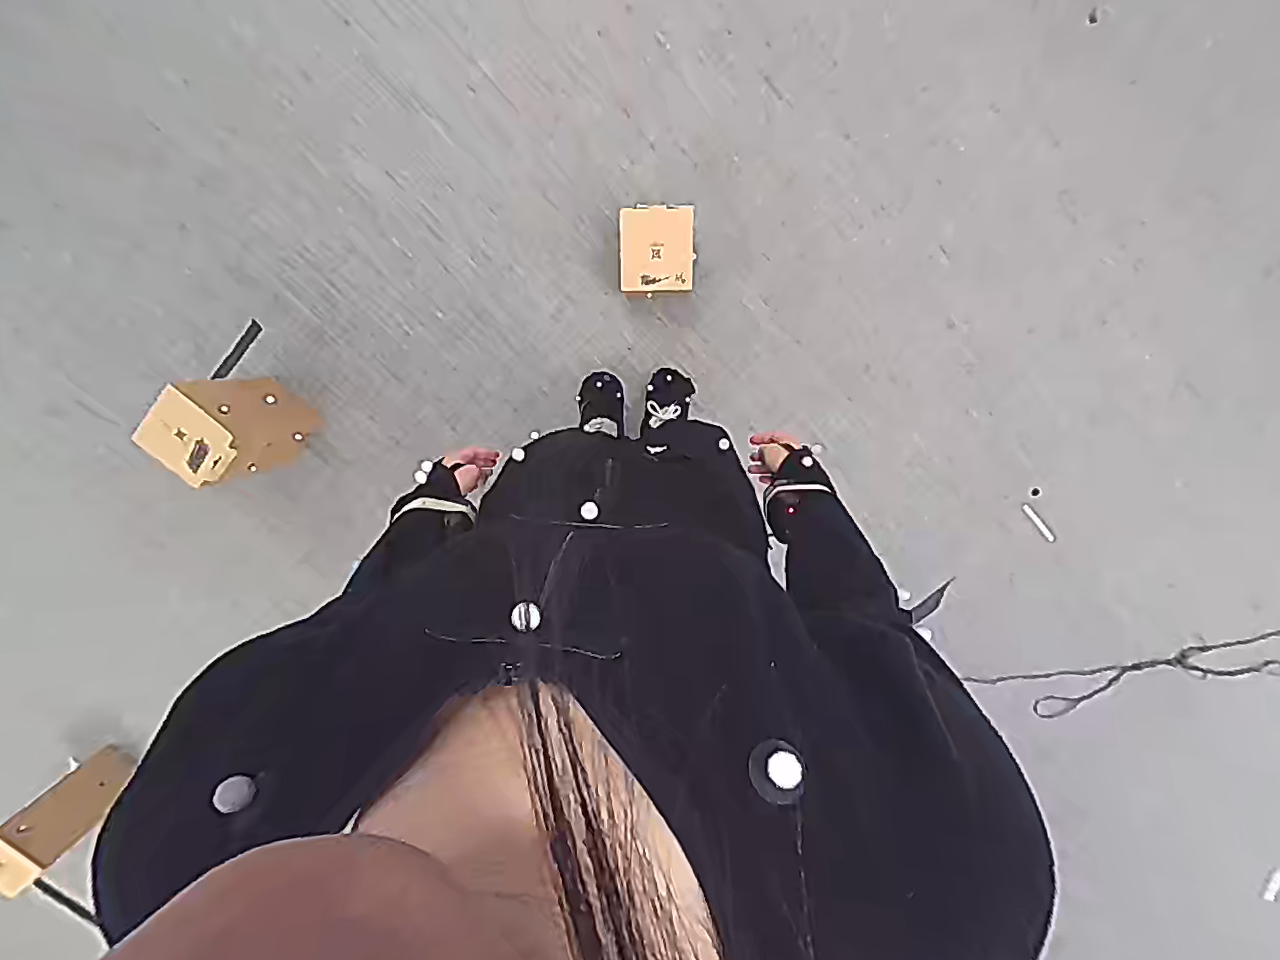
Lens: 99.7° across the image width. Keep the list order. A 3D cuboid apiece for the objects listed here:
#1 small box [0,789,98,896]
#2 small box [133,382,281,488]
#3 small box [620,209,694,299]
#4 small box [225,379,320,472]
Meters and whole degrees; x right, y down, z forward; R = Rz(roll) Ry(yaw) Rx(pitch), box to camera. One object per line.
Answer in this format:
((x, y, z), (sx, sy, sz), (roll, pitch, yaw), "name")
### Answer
((-1.762, 1.038, 1.567), (0.168, 0.176, 0.179), (-39, 101, 11), "small box")
((-0.990, -0.113, 1.255), (0.179, 0.176, 0.168), (42, 101, -8), "small box")
((0.037, -0.532, 1.289), (0.168, 0.176, 0.179), (0, 104, 1), "small box")
((-0.990, -0.150, 1.415), (0.179, 0.176, 0.168), (41, 101, -7), "small box")
